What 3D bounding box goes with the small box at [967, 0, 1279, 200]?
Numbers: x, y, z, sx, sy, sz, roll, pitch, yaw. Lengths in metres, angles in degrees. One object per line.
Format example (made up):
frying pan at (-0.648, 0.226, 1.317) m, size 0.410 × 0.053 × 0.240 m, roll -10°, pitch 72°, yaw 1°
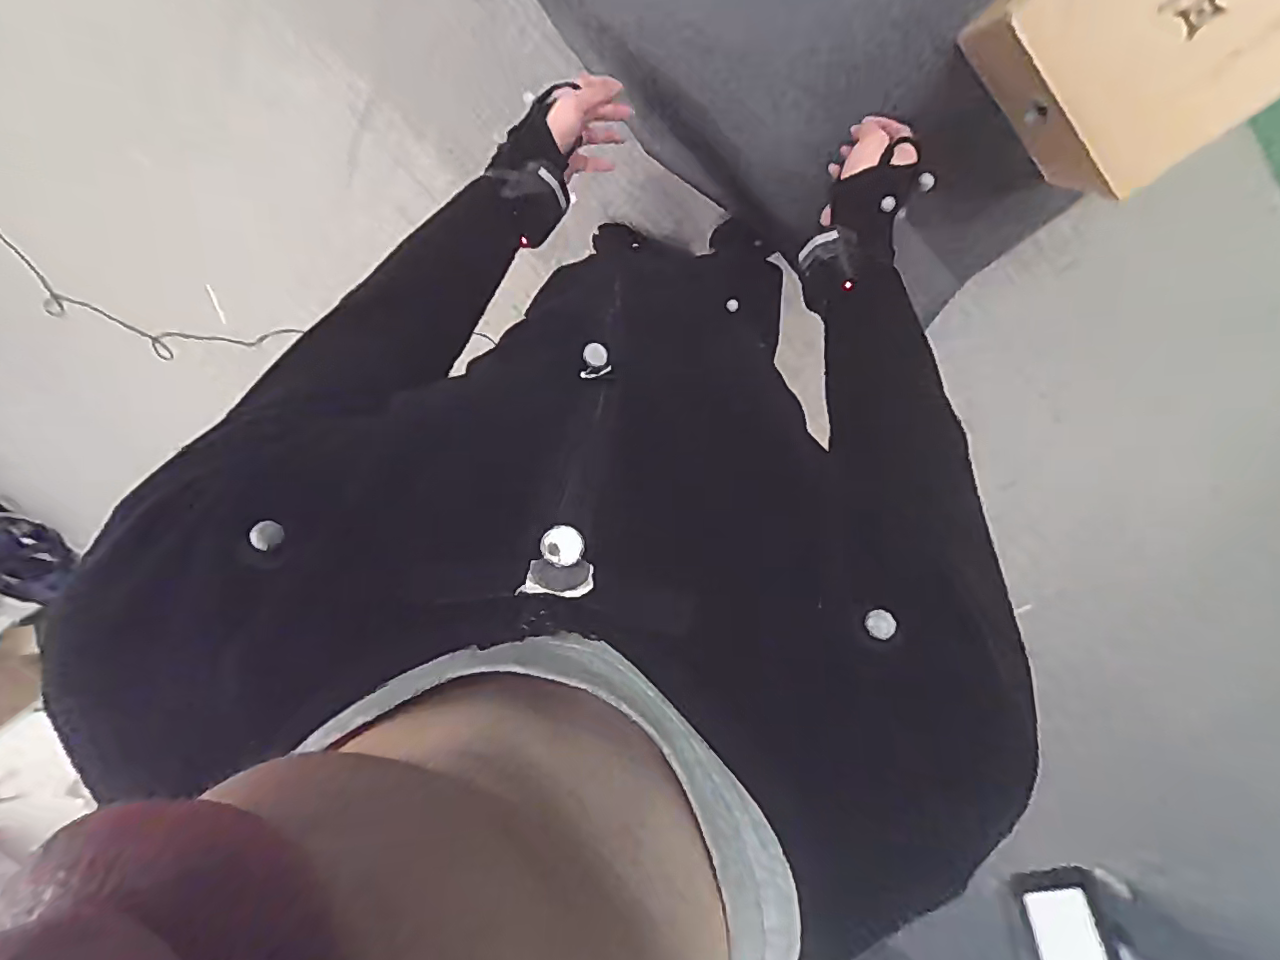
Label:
small box at (0.396, -0.359, 0.428) m, size 0.179 × 0.176 × 0.168 m, roll 44°, pitch 125°, yaw -14°
